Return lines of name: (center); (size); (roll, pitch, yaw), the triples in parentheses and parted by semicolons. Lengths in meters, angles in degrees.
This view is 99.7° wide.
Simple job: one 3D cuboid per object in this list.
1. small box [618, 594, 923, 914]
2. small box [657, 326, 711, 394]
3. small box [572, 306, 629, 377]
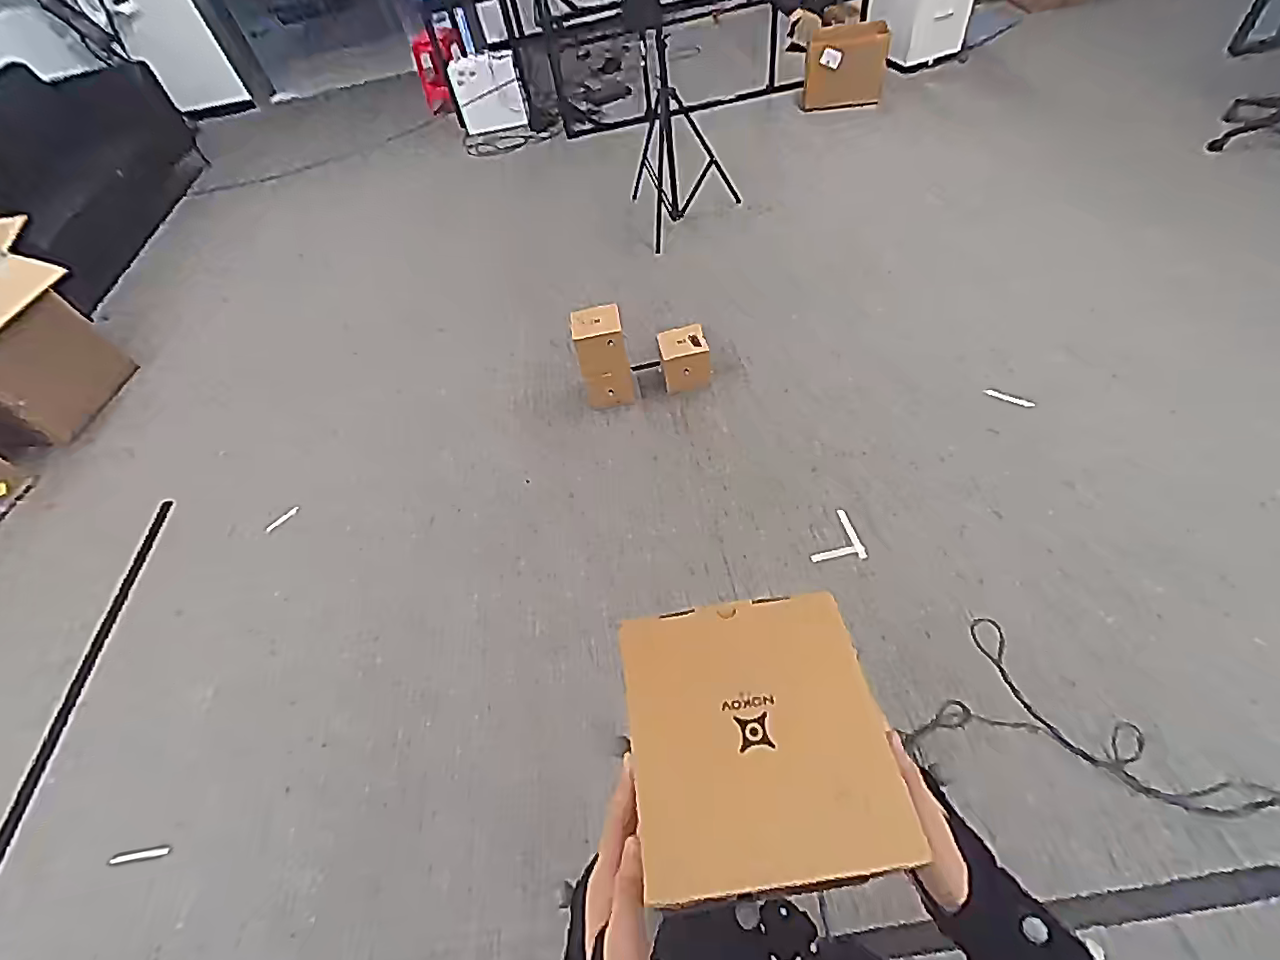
small box: (0.081, 0.216, 0.418); (0.168, 0.176, 0.179); (-9, 48, 0)
small box: (0.173, -0.458, 2.074); (0.179, 0.176, 0.168); (-13, 52, 2)
small box: (-0.140, -0.496, 1.952); (0.179, 0.176, 0.168); (-11, 51, 2)
